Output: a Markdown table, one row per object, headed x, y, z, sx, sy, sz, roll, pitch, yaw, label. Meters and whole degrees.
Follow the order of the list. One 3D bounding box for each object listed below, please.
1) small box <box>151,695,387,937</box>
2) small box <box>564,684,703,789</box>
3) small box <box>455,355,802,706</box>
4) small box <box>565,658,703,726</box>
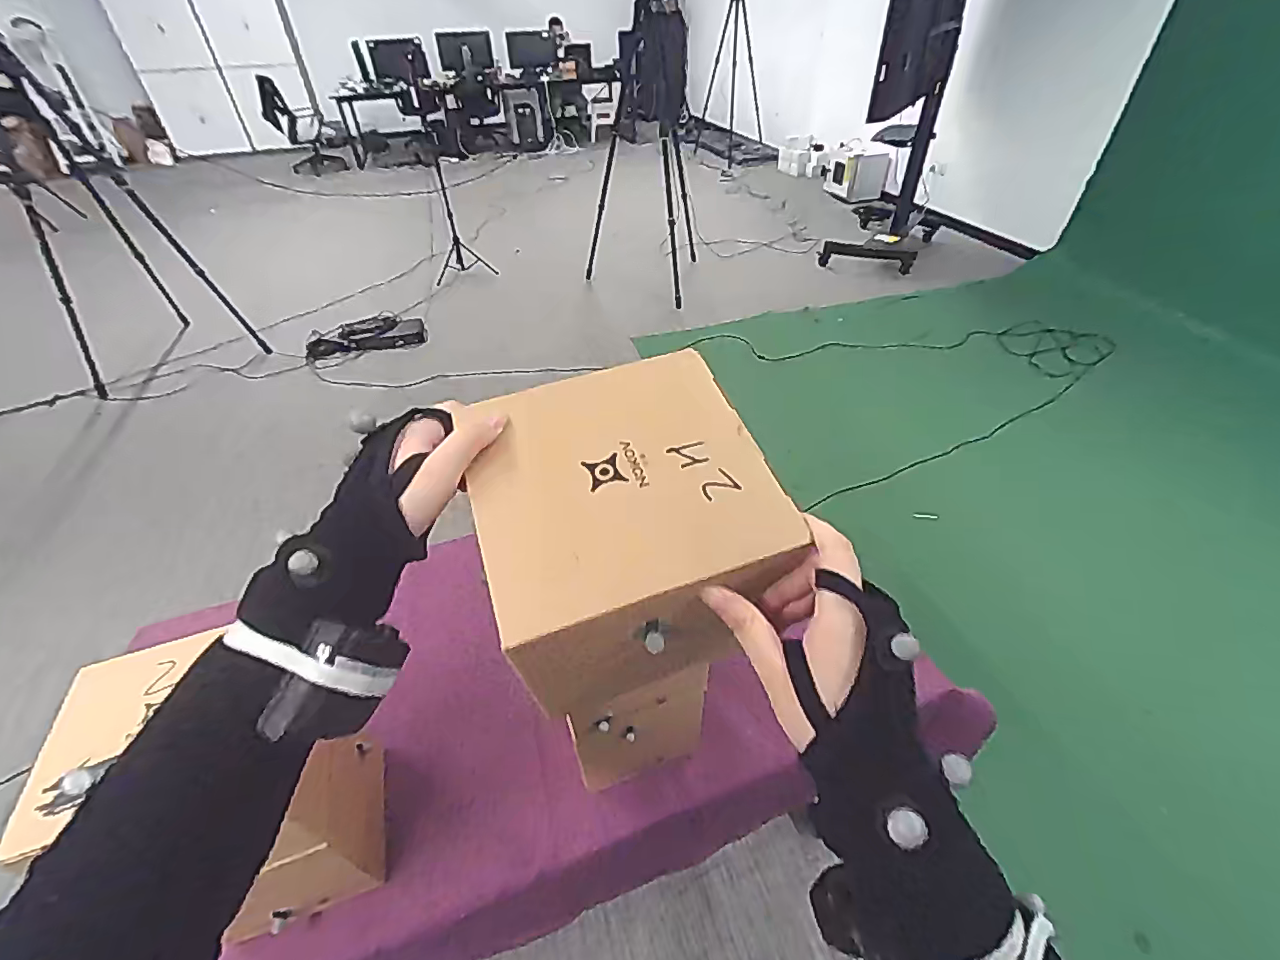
| x | y | z | sx | sy | sz | roll | pitch | yaw | label |
| --- | --- | --- | --- | --- | --- | --- | --- | --- | --- |
| -0.417 | 0.398 | 0.647 | 0.168 | 0.176 | 0.179 | -15 | 45 | -13 | small box |
| -0.025 | 0.286 | 0.749 | 0.168 | 0.176 | 0.179 | -17 | 43 | -13 | small box |
| -0.014 | 0.042 | 0.392 | 0.179 | 0.176 | 0.168 | -16 | 57 | -12 | small box |
| -0.030 | 0.163 | 0.639 | 0.168 | 0.176 | 0.179 | -16 | 44 | -14 | small box |
